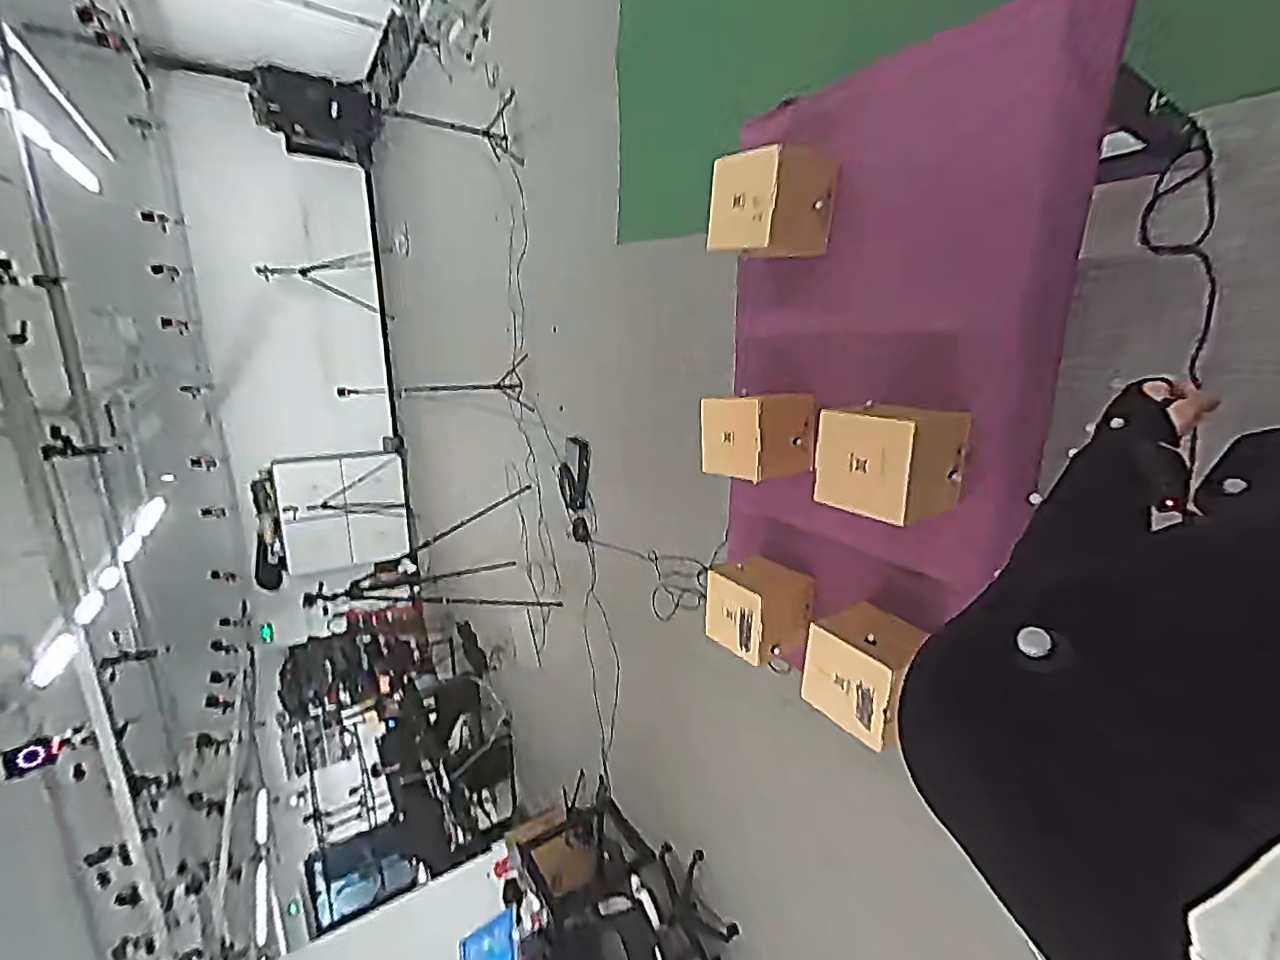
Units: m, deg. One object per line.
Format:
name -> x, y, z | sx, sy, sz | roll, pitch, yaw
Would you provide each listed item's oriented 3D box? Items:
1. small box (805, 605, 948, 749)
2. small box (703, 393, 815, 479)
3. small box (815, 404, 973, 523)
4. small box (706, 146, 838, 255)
small box -> 0.441, 0.353, 1.013 | 0.179, 0.176, 0.168 | 25, 118, 54
small box -> 0.258, -0.102, 1.183 | 0.179, 0.176, 0.168 | 11, 107, 54
small box -> 0.432, -0.039, 0.932 | 0.179, 0.176, 0.168 | 21, 116, 54
small box -> 0.256, -0.540, 1.068 | 0.179, 0.176, 0.168 | 28, 121, 50
